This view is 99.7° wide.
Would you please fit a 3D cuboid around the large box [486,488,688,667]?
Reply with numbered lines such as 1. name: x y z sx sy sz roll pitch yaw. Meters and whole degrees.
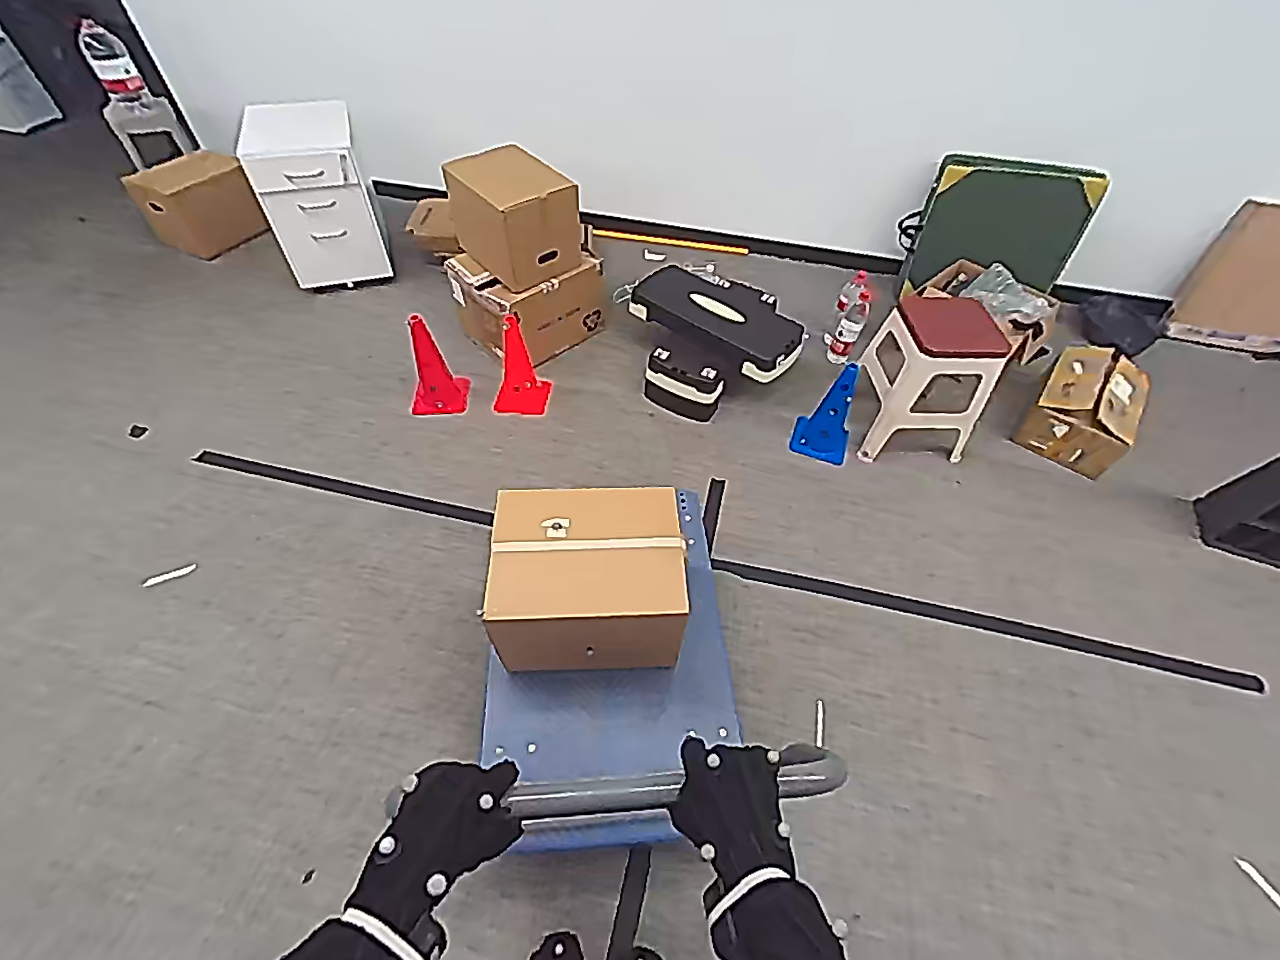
1. large box: -0.112 0.234 1.266 0.408 0.320 0.320 -1 52 -3
